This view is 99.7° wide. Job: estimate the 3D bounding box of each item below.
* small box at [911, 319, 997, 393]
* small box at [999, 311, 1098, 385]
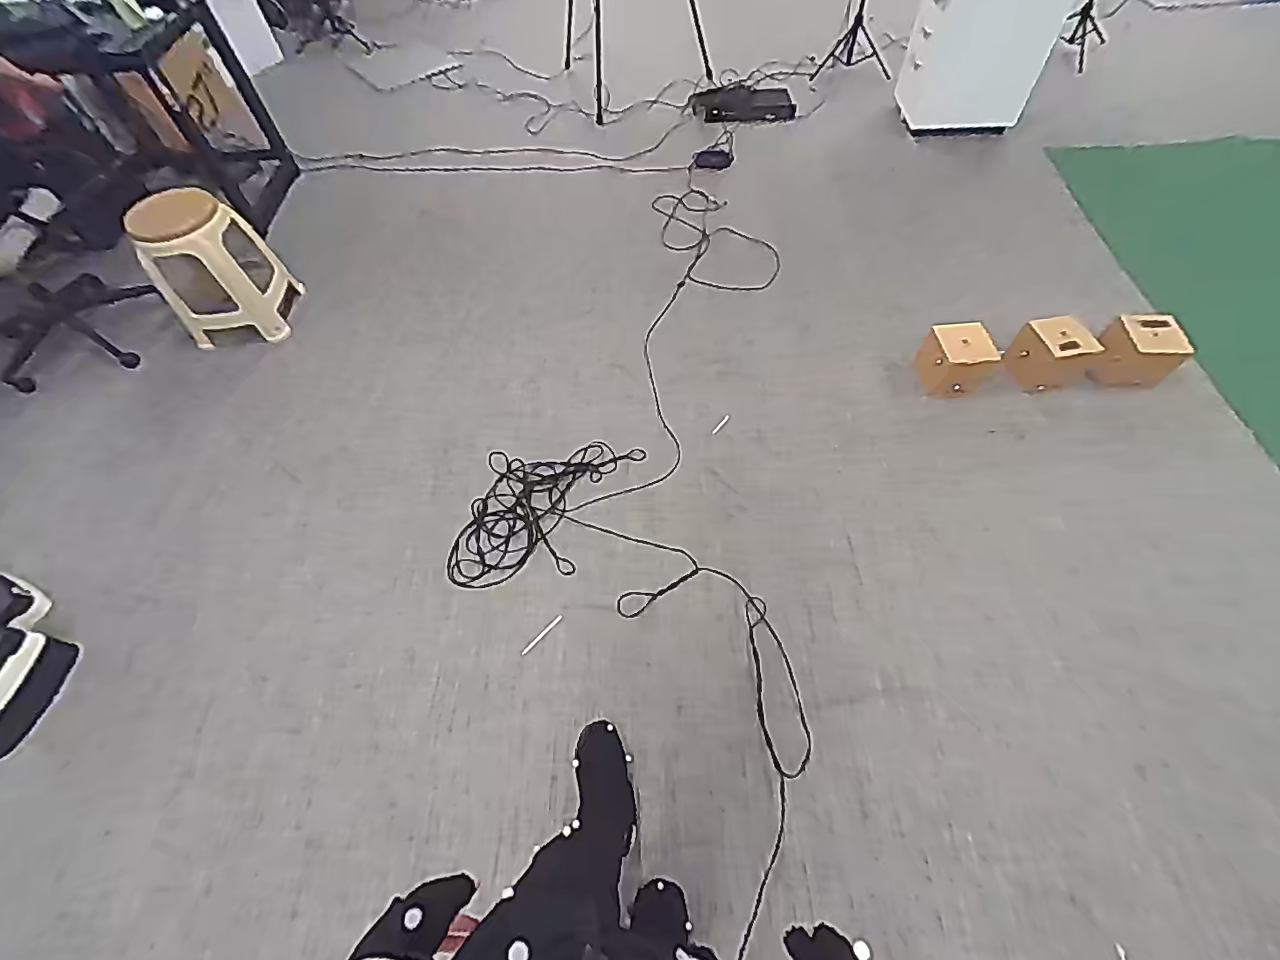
[{"bbox_3d":[1.046,-0.415,1.820,0.168,0.176,0.179,-5,58,0],"label":"small box"},{"bbox_3d":[1.363,-0.437,1.818,0.168,0.176,0.179,-8,57,-3],"label":"small box"}]
